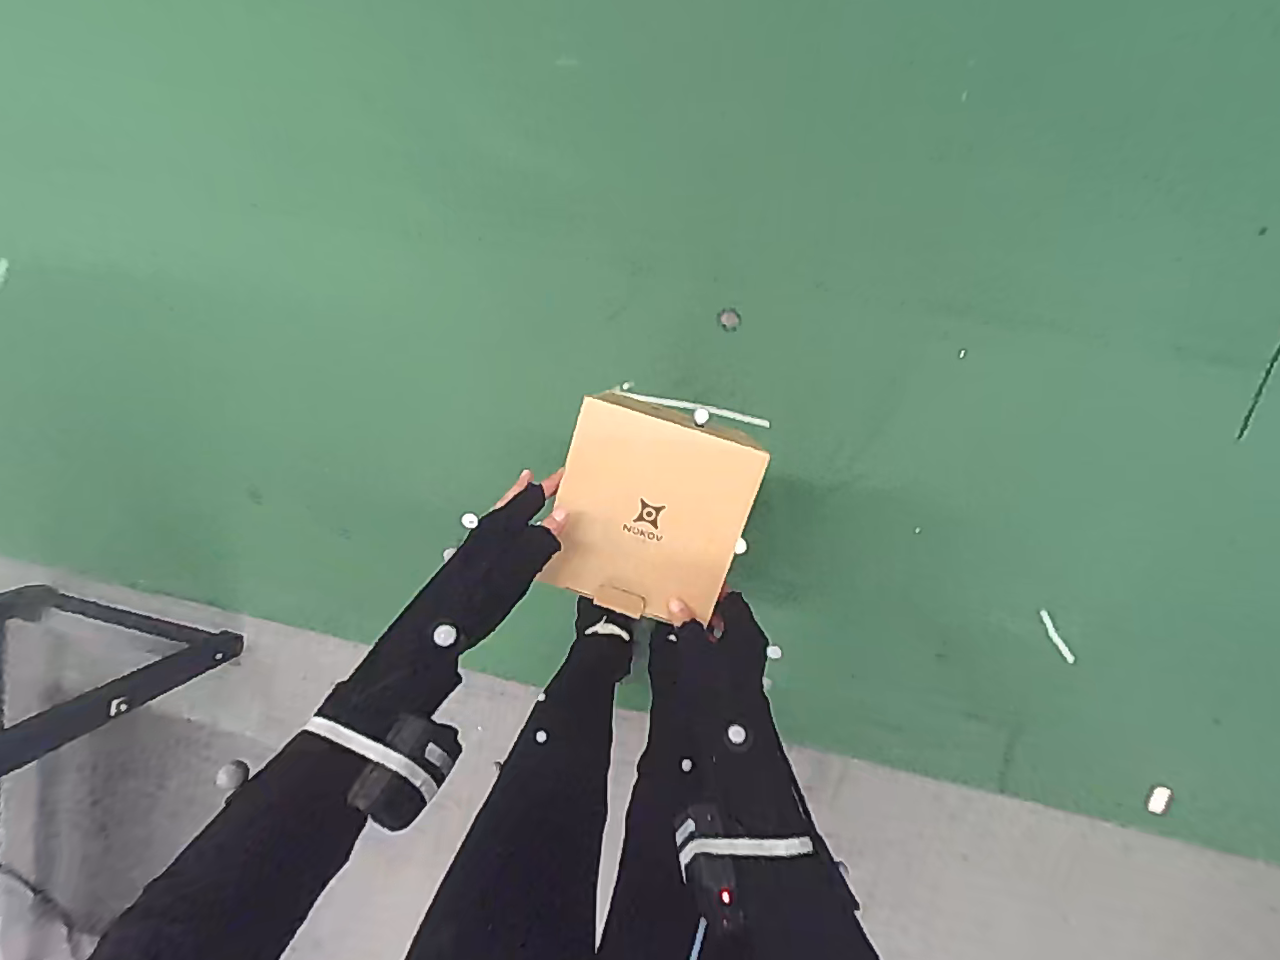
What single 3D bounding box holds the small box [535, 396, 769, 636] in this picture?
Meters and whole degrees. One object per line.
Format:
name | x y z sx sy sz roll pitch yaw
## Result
small box | 0.011 0.021 0.547 0.168 0.176 0.179 18 103 -1
